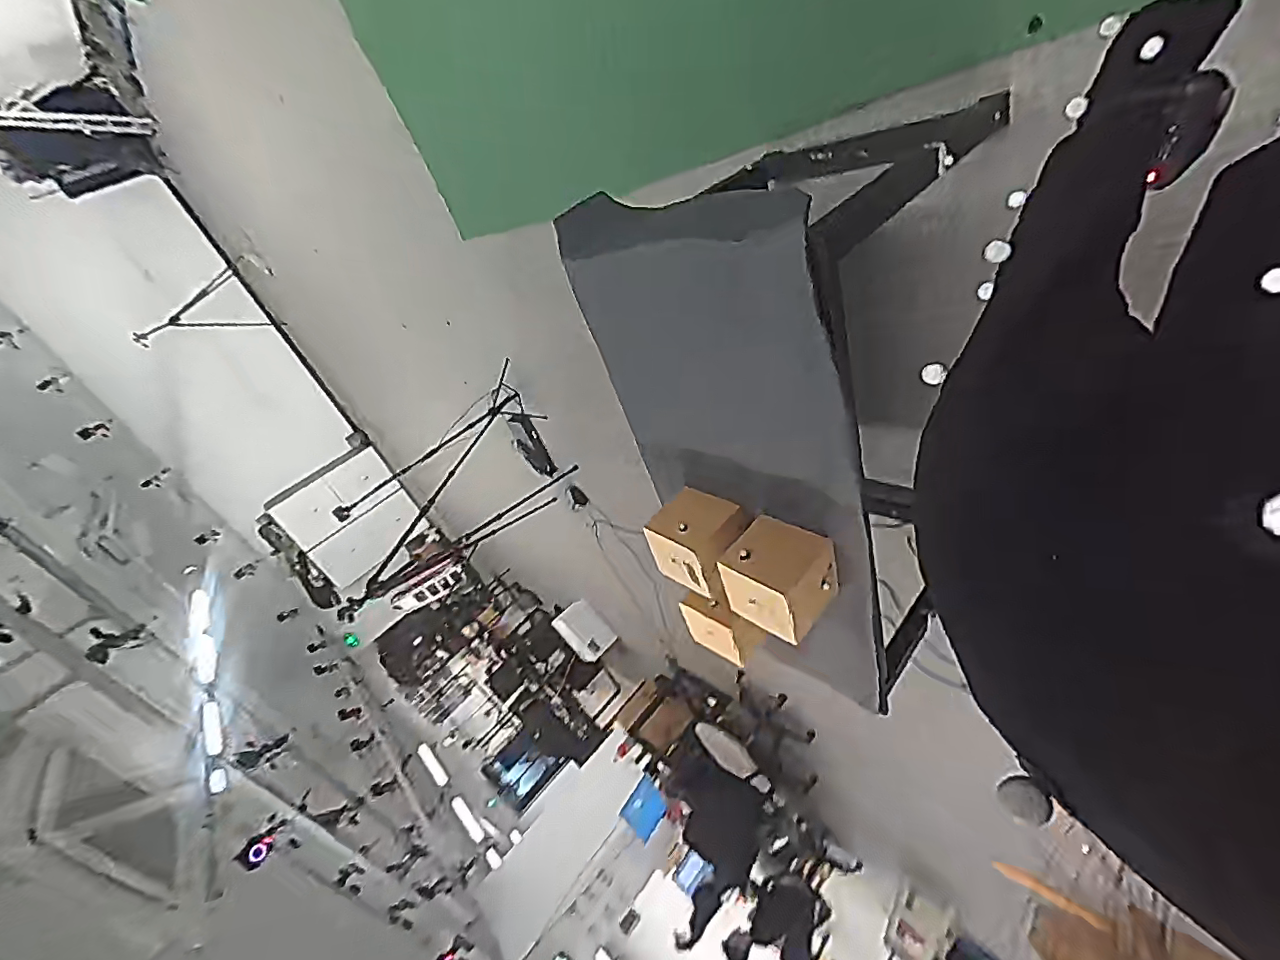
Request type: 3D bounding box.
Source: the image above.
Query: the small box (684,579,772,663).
[{"bbox_3d":[0.251,0.347,1.451,0.179,0.176,0.168,18,141,44],"label":"small box"}]

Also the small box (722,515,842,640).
[{"bbox_3d":[0.307,0.199,1.159,0.179,0.176,0.168,21,143,44],"label":"small box"}]

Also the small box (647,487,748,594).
[{"bbox_3d":[0.151,0.139,1.316,0.179,0.176,0.168,21,143,43],"label":"small box"}]
